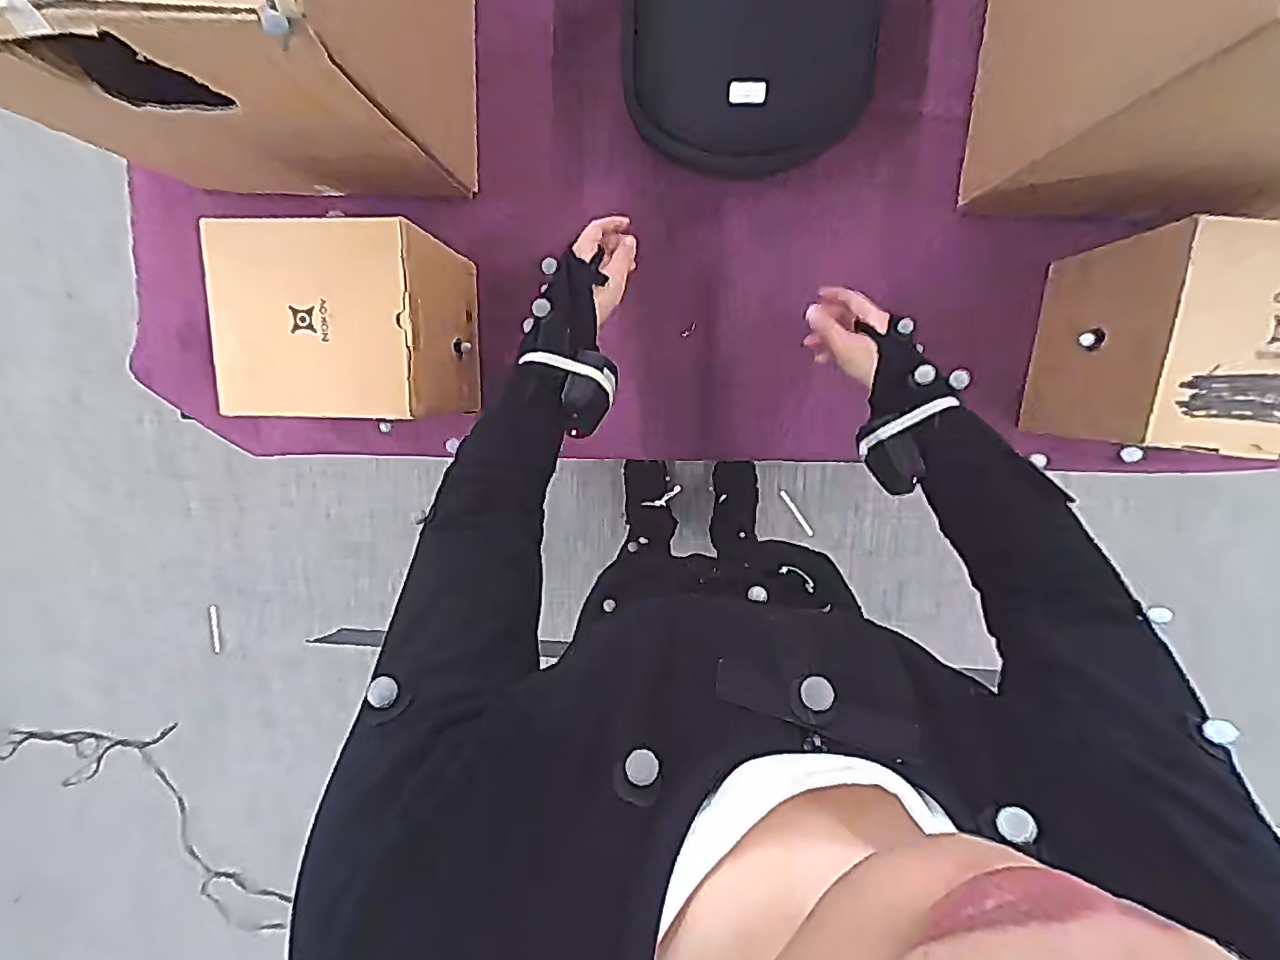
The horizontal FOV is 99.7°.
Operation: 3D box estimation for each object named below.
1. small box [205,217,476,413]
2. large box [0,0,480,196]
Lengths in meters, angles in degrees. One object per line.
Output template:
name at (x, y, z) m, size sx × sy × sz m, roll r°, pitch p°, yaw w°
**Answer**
small box at (-0.282, -0.152, 0.546) m, size 0.179 × 0.176 × 0.168 m, roll 1°, pitch 99°, yaw 3°
large box at (-0.327, -0.482, 0.417) m, size 0.320 × 0.320 × 0.408 m, roll 2°, pitch 103°, yaw 2°
